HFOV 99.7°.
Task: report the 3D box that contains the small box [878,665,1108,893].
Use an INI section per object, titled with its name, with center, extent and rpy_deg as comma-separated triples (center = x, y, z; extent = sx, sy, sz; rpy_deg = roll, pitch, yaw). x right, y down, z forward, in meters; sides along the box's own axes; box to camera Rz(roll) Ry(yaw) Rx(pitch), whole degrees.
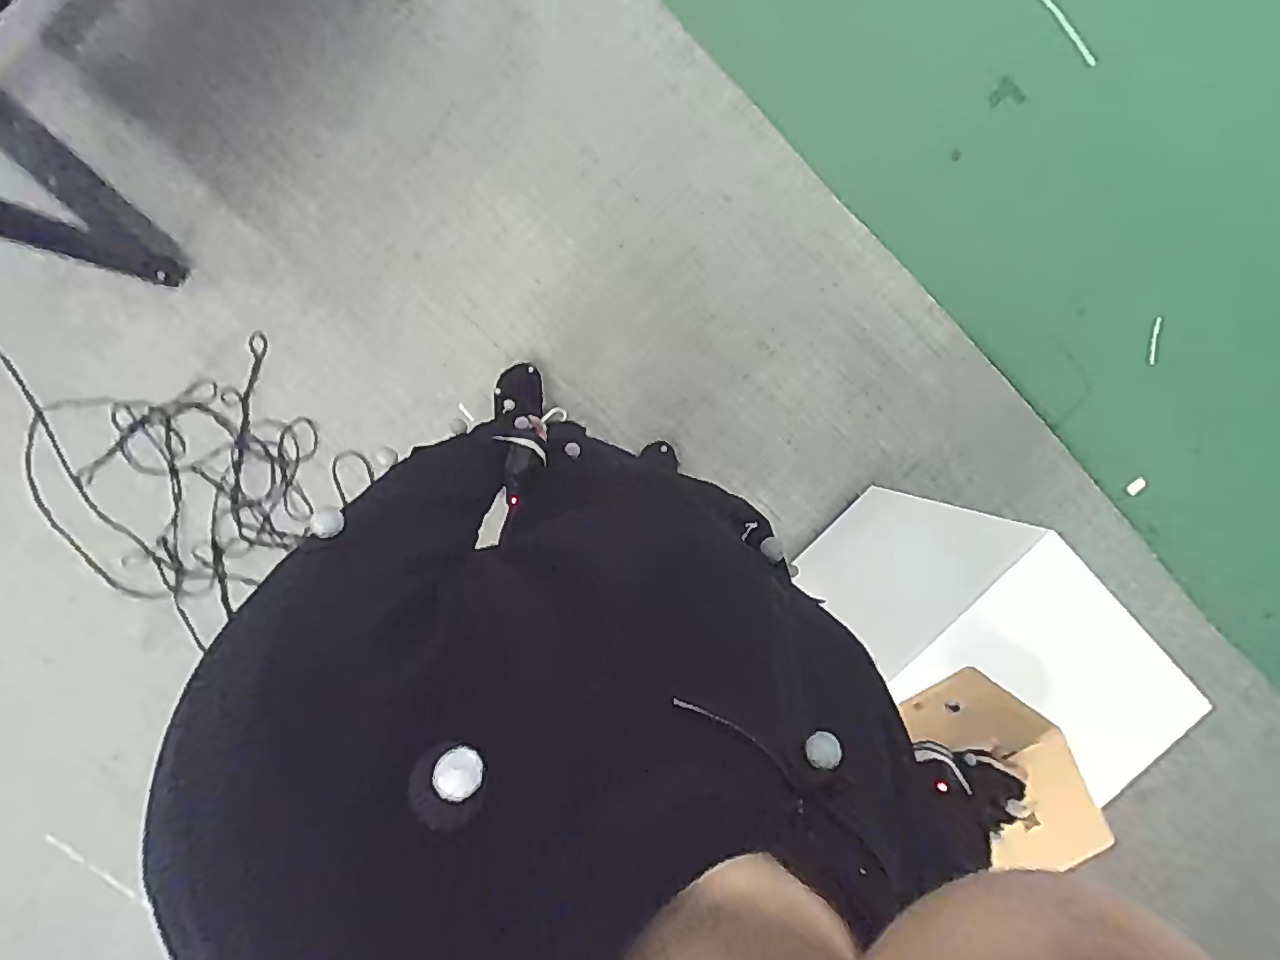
[small box]
center = 0.464, 0.392, 0.738
extent = 0.168, 0.176, 0.179
rpy_deg = -29, 97, 1
